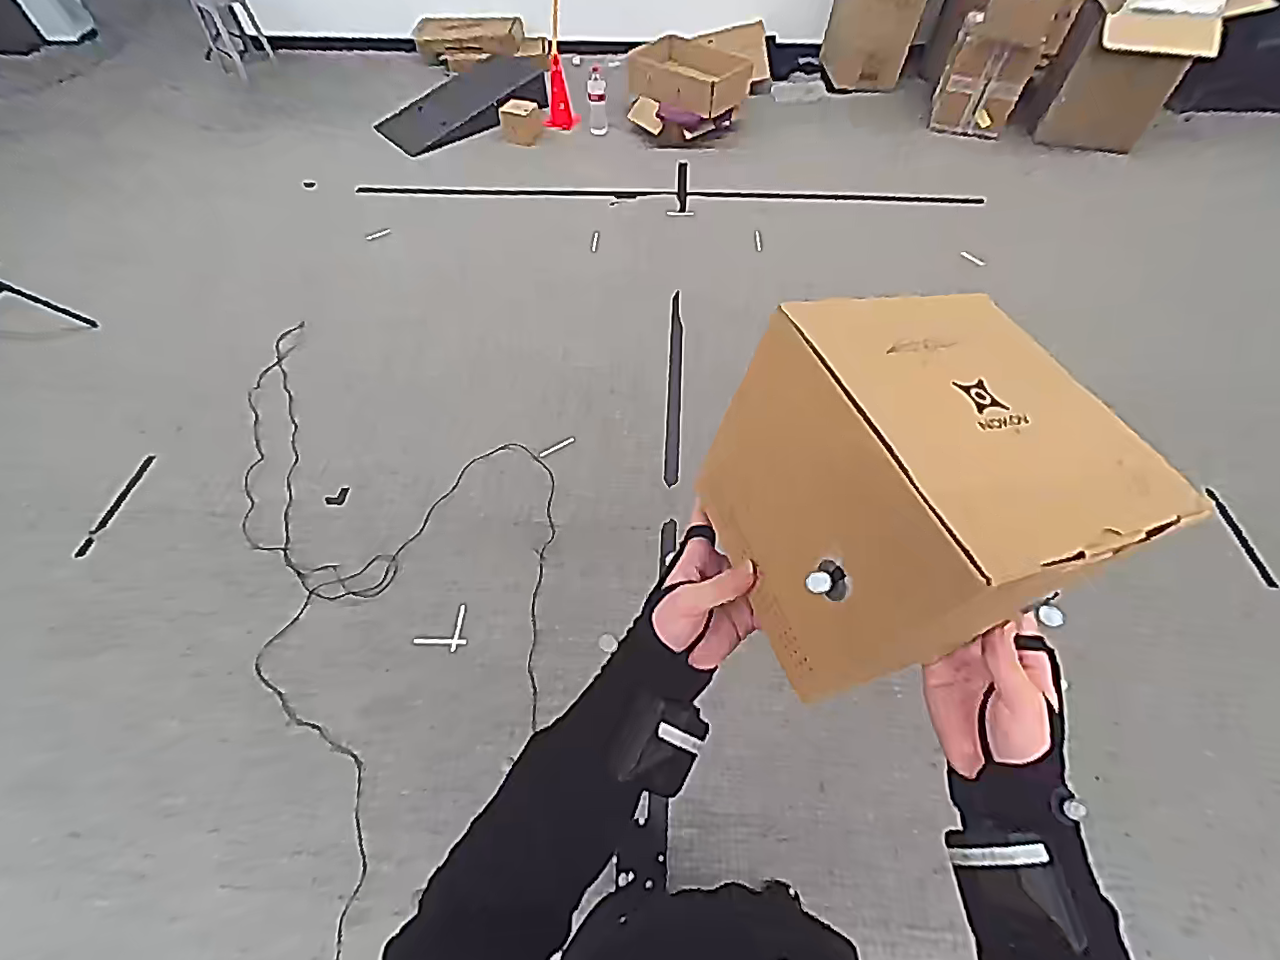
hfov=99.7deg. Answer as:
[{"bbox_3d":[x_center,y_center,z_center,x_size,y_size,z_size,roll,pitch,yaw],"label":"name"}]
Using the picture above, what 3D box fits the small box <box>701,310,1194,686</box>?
[{"bbox_3d":[0.163,0.015,0.350,0.168,0.176,0.179,-9,55,-22],"label":"small box"}]
